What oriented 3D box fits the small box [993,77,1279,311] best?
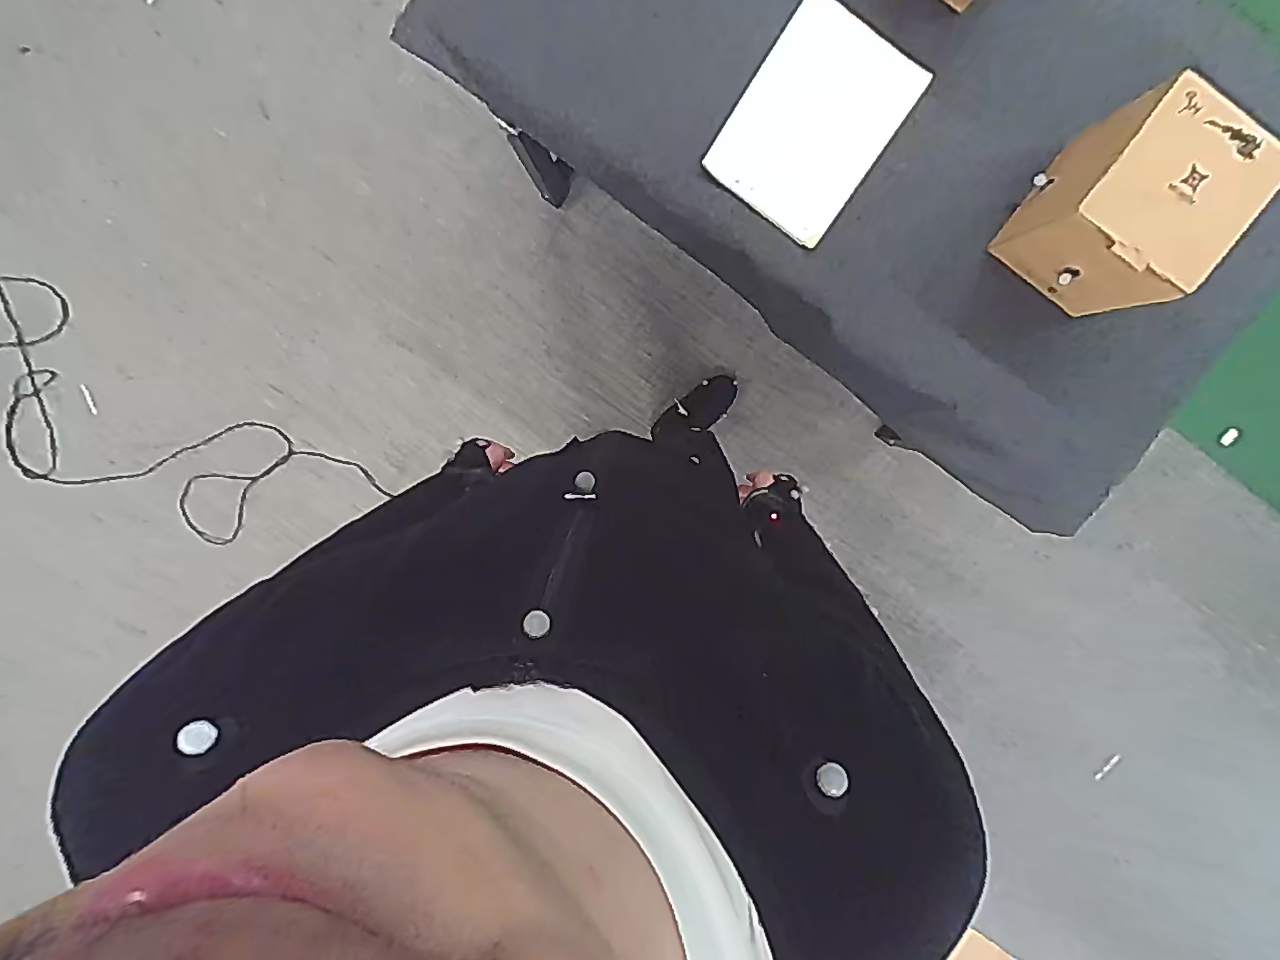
[{"bbox_3d":[0.592,-0.335,0.679,0.168,0.176,0.179,34,100,-5],"label":"small box"}]
